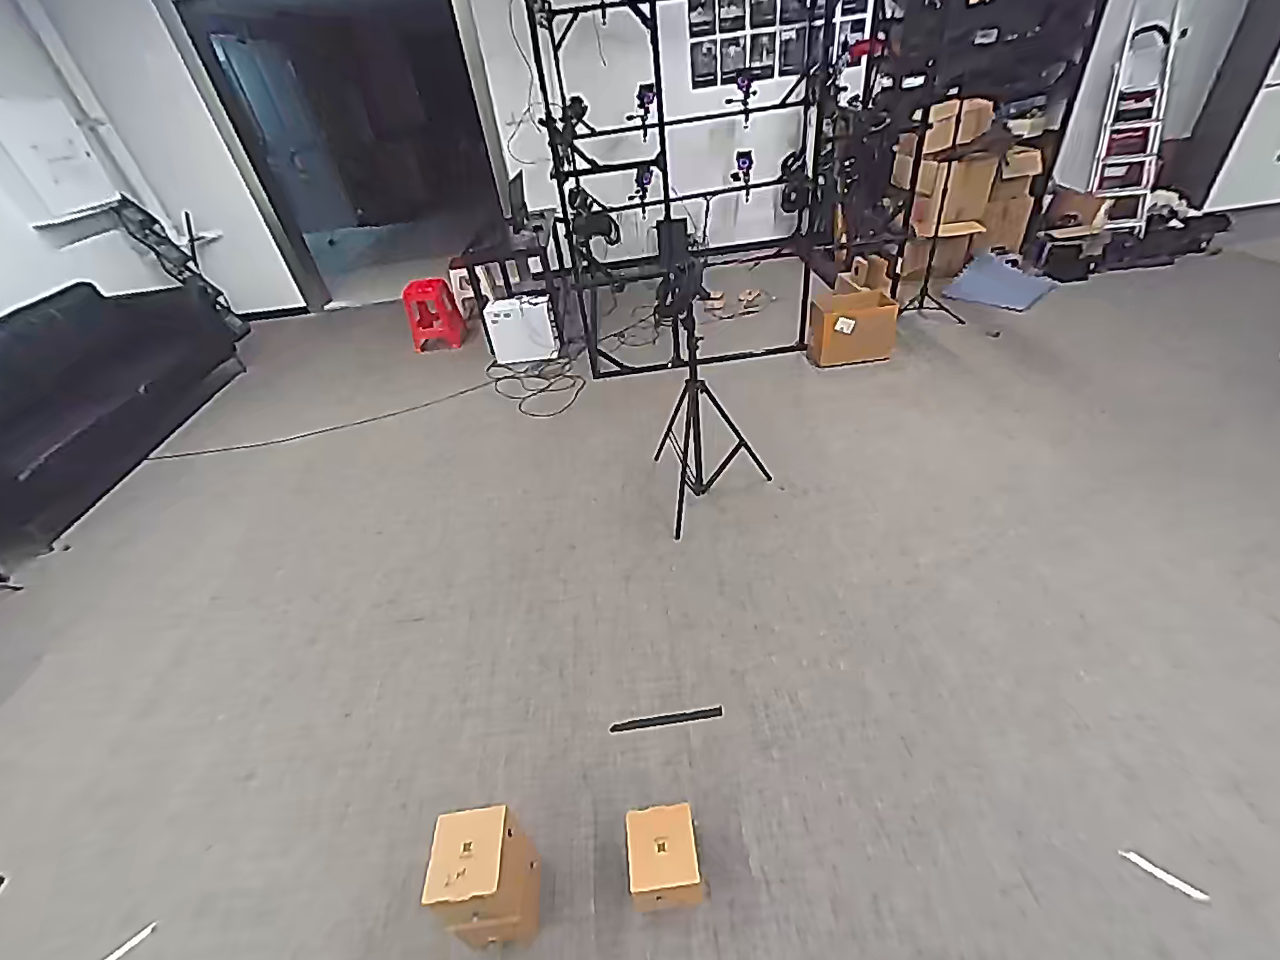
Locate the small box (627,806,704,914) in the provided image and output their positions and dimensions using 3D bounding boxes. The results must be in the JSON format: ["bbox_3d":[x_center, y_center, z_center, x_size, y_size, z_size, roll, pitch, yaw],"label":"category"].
[{"bbox_3d":[0.064,0.950,1.348,0.168,0.176,0.179,-8,37,0],"label":"small box"}]

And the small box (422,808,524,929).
[{"bbox_3d":[-0.370,0.889,1.238,0.168,0.176,0.179,-10,38,1],"label":"small box"}]

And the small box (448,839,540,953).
[{"bbox_3d":[-0.349,1.023,1.331,0.168,0.176,0.179,-9,37,1],"label":"small box"}]
